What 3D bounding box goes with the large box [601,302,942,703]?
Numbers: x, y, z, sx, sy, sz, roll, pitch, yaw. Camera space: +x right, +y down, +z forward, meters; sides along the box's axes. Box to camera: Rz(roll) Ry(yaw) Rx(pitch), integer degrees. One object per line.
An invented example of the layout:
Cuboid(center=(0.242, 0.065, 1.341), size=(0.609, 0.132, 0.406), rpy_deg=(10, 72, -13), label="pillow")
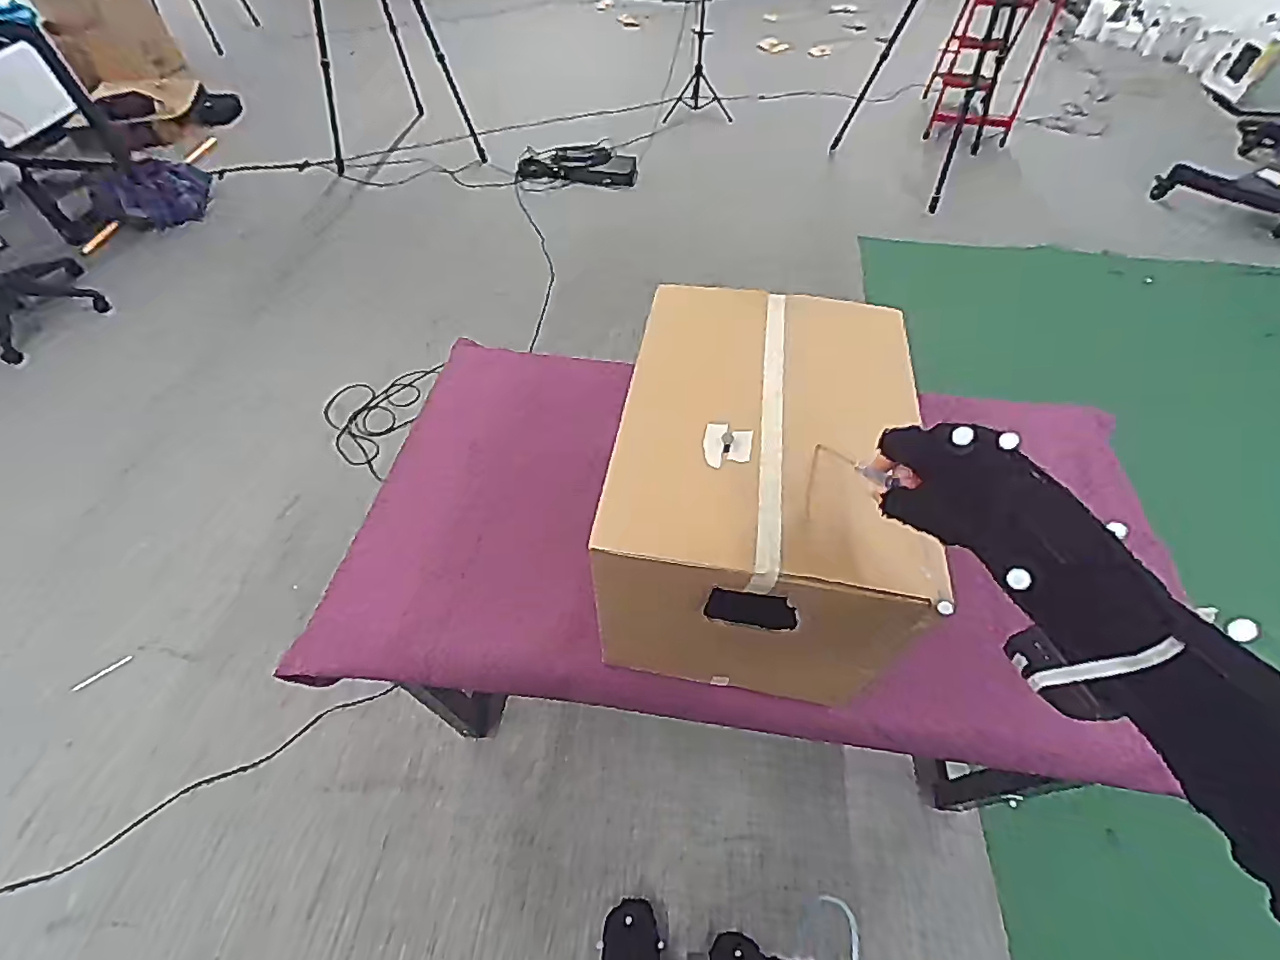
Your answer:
Cuboid(center=(0.141, 0.027, 0.716), size=(0.320, 0.320, 0.408), rpy_deg=(8, 54, 6), label="large box")
